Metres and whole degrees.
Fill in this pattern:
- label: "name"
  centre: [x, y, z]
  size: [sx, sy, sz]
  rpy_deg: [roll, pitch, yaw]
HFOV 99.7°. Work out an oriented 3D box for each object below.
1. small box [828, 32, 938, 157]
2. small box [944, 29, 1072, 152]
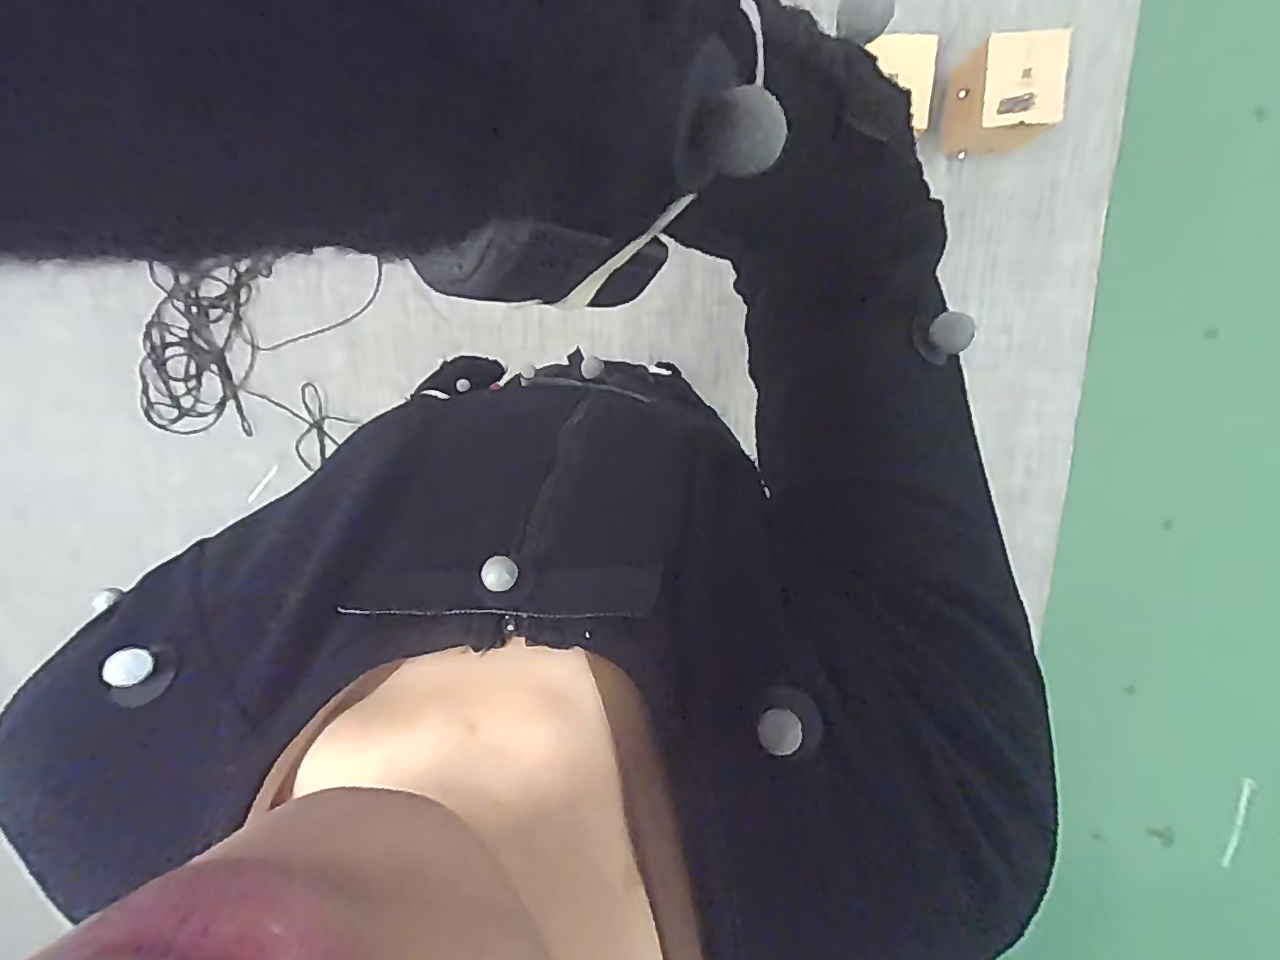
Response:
- label: "small box"
  centre: [0.531, -0.850, 1.205]
  size: [0.168, 0.176, 0.179]
  rpy_deg: [2, 102, 1]
- label: "small box"
  centre: [0.800, -0.846, 1.195]
  size: [0.168, 0.176, 0.179]
  rpy_deg: [-1, 101, 2]
